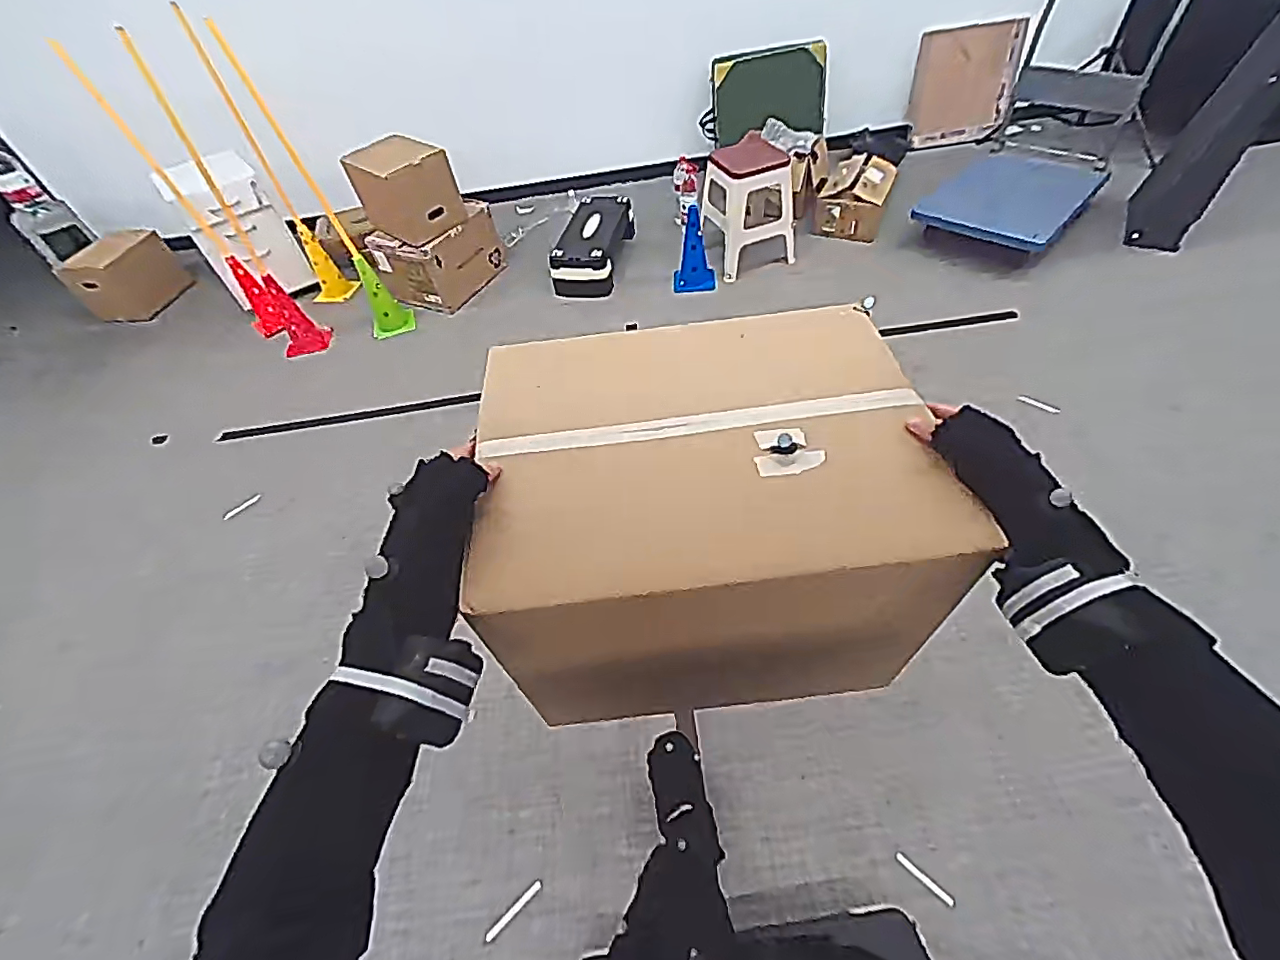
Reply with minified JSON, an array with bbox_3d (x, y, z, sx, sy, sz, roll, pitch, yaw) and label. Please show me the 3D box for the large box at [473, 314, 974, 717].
[{"bbox_3d":[0.060,0.048,0.624,0.408,0.320,0.320,-7,51,0],"label":"large box"}]
